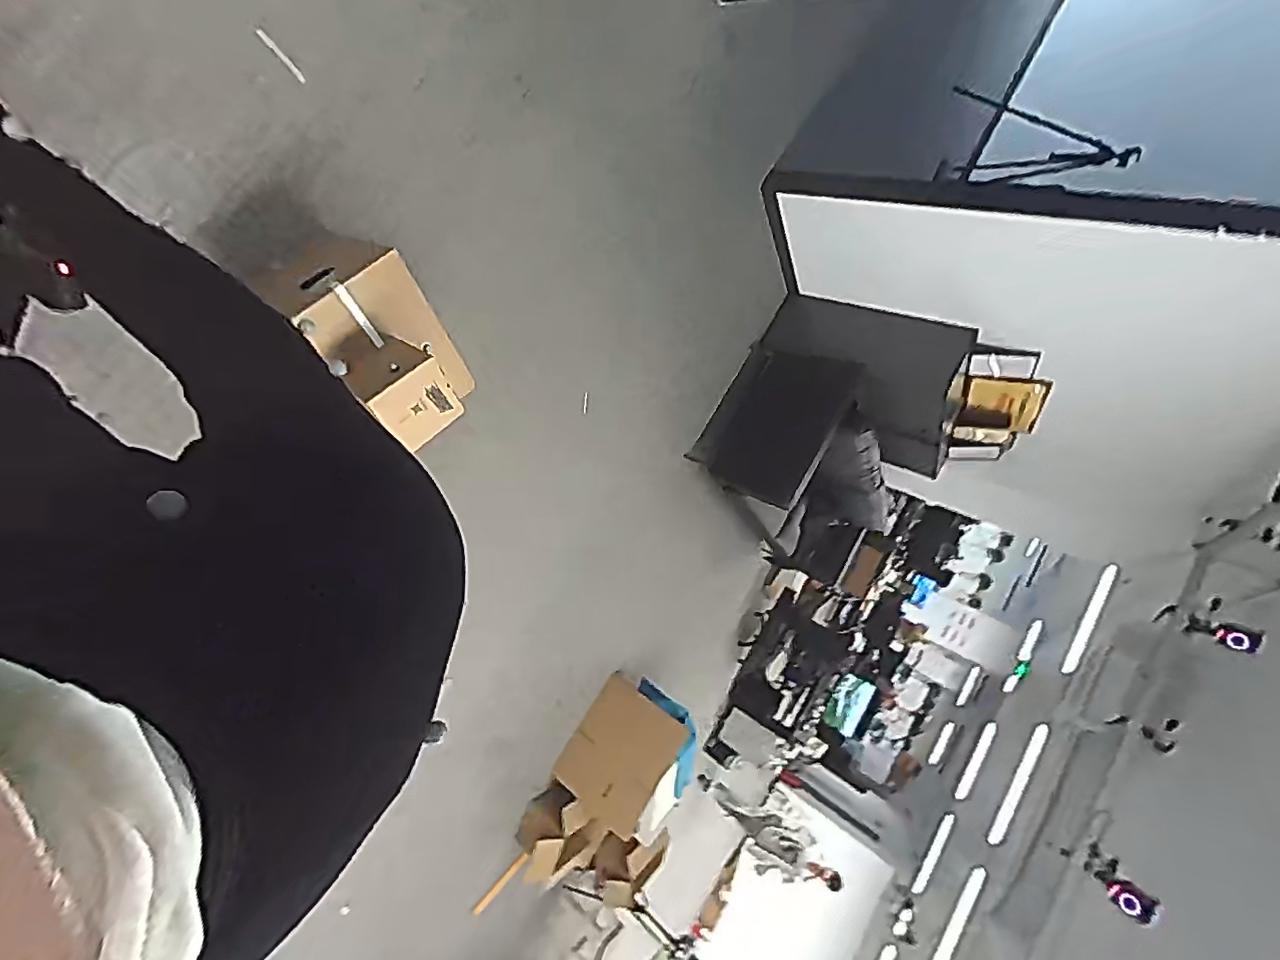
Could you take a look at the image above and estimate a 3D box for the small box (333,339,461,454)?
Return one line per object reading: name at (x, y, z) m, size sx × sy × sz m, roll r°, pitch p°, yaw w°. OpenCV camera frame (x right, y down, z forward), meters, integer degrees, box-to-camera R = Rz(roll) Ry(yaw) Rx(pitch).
small box at (-0.554, -0.197, 1.239) m, size 0.179 × 0.176 × 0.168 m, roll -46°, pitch 144°, yaw -24°
